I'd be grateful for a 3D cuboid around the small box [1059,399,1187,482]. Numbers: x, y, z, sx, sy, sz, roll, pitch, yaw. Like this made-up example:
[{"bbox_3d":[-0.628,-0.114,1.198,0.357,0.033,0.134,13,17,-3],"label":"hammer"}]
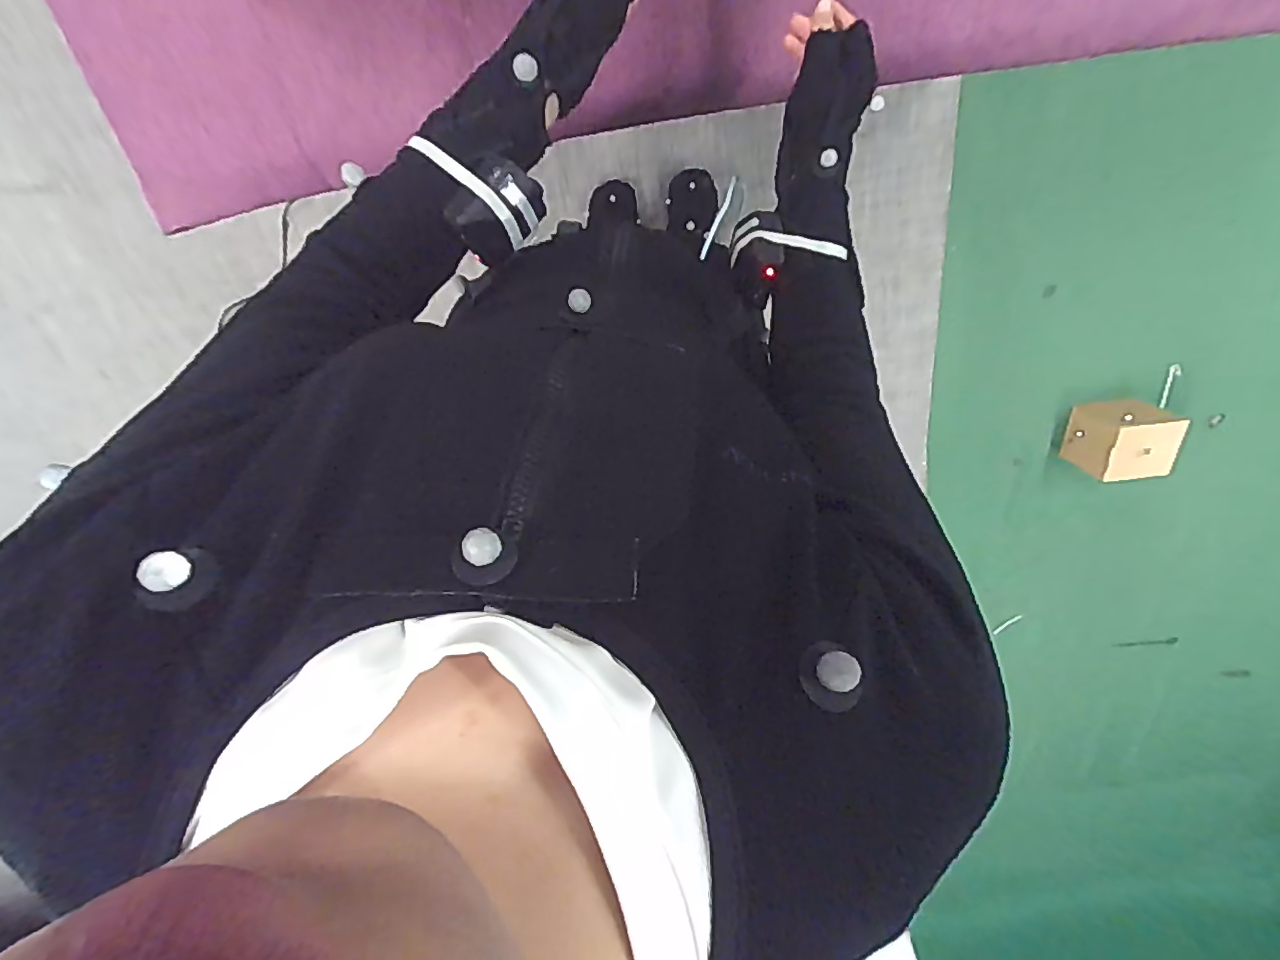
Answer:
[{"bbox_3d":[1.320,-0.114,1.492,0.179,0.176,0.168,-6,120,3],"label":"small box"}]
